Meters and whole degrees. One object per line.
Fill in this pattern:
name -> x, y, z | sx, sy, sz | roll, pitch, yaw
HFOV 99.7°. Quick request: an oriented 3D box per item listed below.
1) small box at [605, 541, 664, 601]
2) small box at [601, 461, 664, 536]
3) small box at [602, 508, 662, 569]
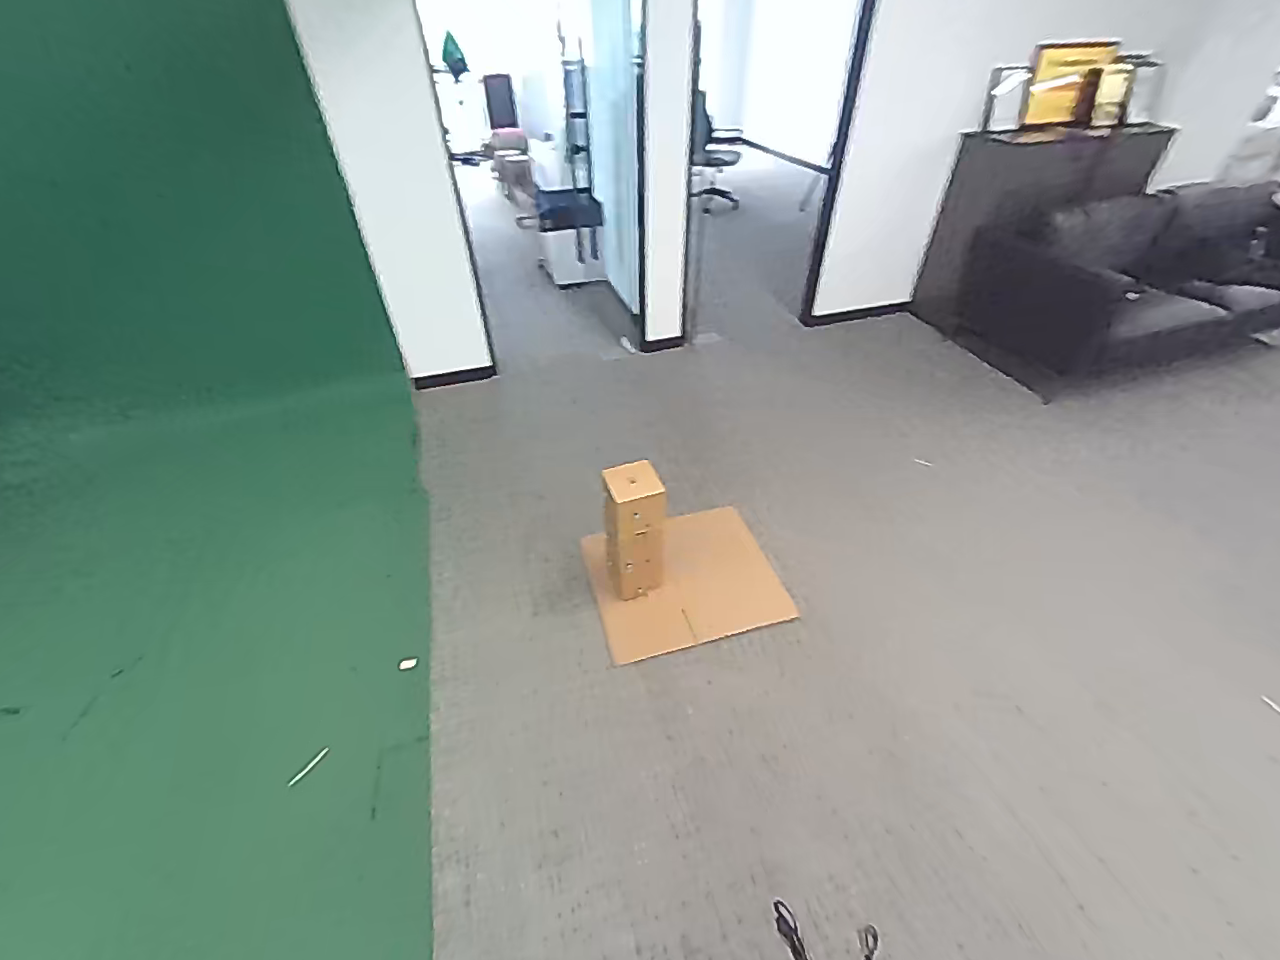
small box -> -0.023, 0.317, 2.012 | 0.168, 0.176, 0.179 | -17, 43, -17
small box -> -0.024, 0.068, 1.803 | 0.168, 0.176, 0.179 | -14, 42, -14
small box -> -0.025, 0.193, 1.906 | 0.168, 0.176, 0.179 | -15, 41, -15
